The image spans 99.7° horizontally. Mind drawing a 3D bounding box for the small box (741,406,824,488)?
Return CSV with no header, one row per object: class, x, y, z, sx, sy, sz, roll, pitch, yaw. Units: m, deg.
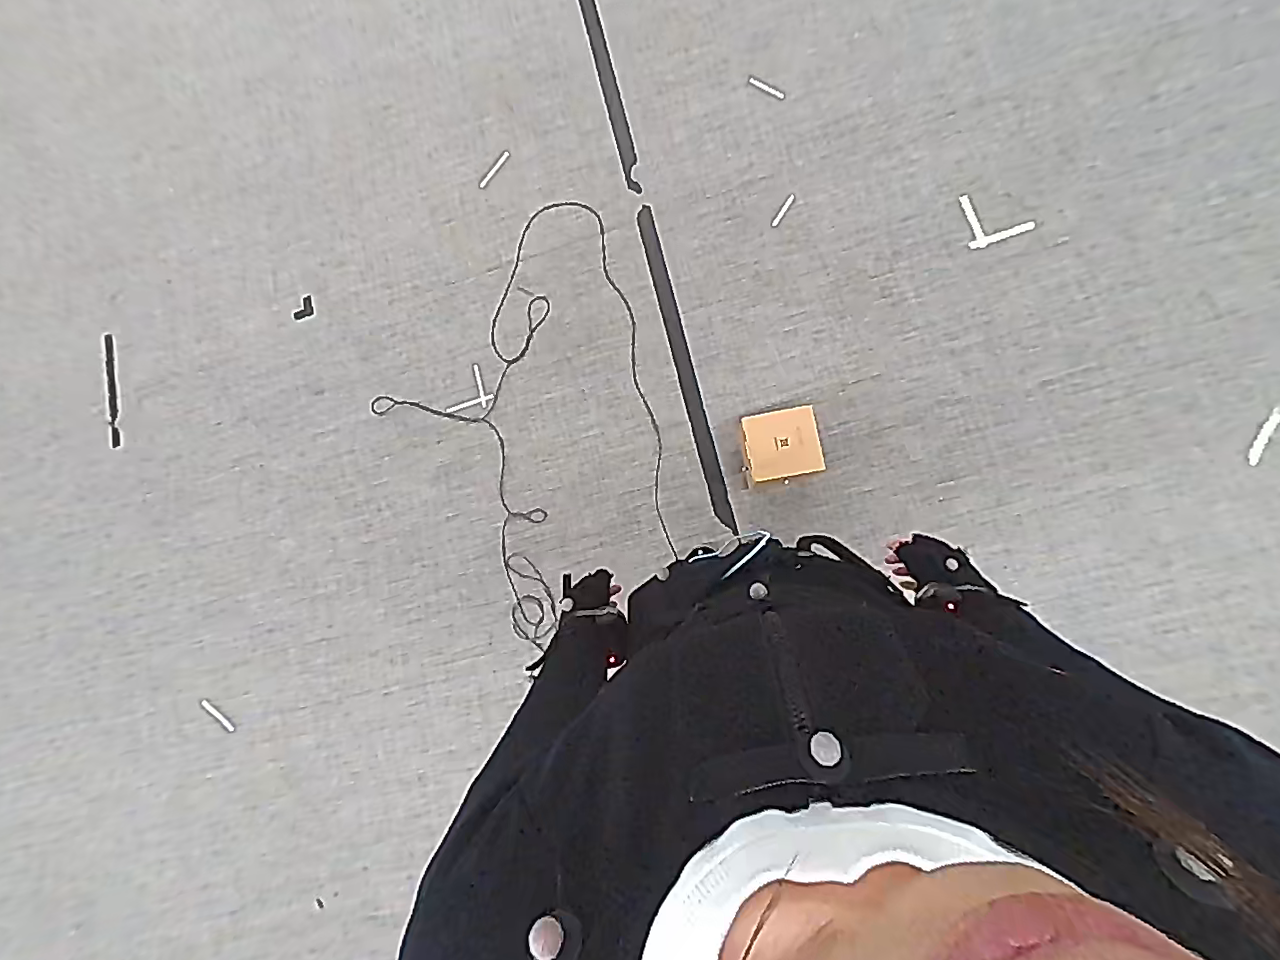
small box,0.360,-0.078,1.400,0.179,0.176,0.168,-10,82,6
